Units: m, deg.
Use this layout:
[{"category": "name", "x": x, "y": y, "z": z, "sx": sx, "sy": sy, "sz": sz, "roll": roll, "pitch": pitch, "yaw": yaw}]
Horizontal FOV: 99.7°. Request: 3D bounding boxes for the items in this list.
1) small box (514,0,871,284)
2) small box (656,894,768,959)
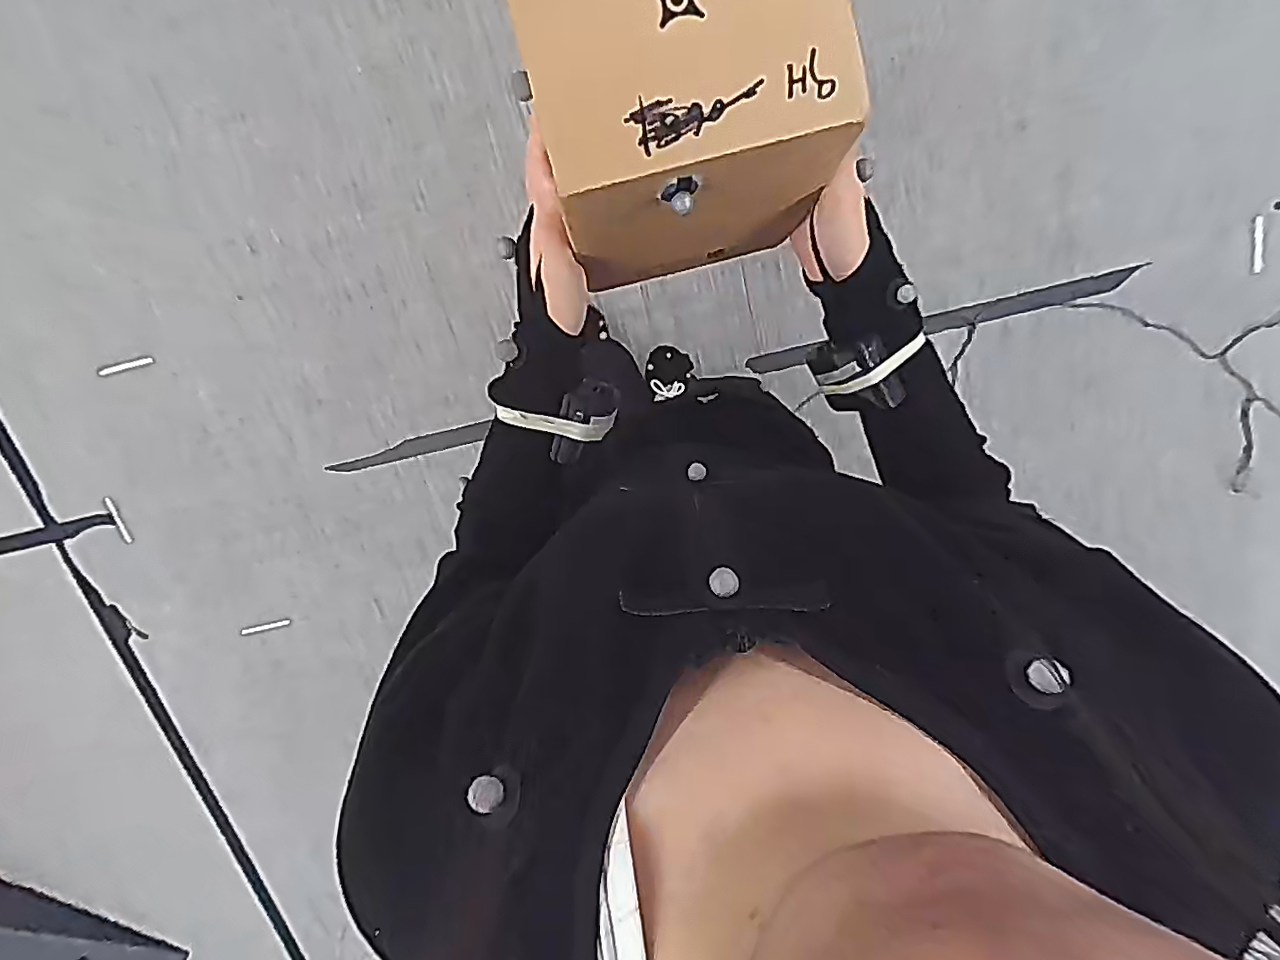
[{"category": "small box", "x": 0.017, "y": -0.253, "z": 0.346, "sx": 0.168, "sy": 0.176, "sz": 0.179, "roll": -14, "pitch": 92, "yaw": 1}, {"category": "small box", "x": 0.126, "y": 0.830, "z": 0.884, "sx": 0.179, "sy": 0.176, "sz": 0.168, "roll": -15, "pitch": 105, "yaw": 3}]
